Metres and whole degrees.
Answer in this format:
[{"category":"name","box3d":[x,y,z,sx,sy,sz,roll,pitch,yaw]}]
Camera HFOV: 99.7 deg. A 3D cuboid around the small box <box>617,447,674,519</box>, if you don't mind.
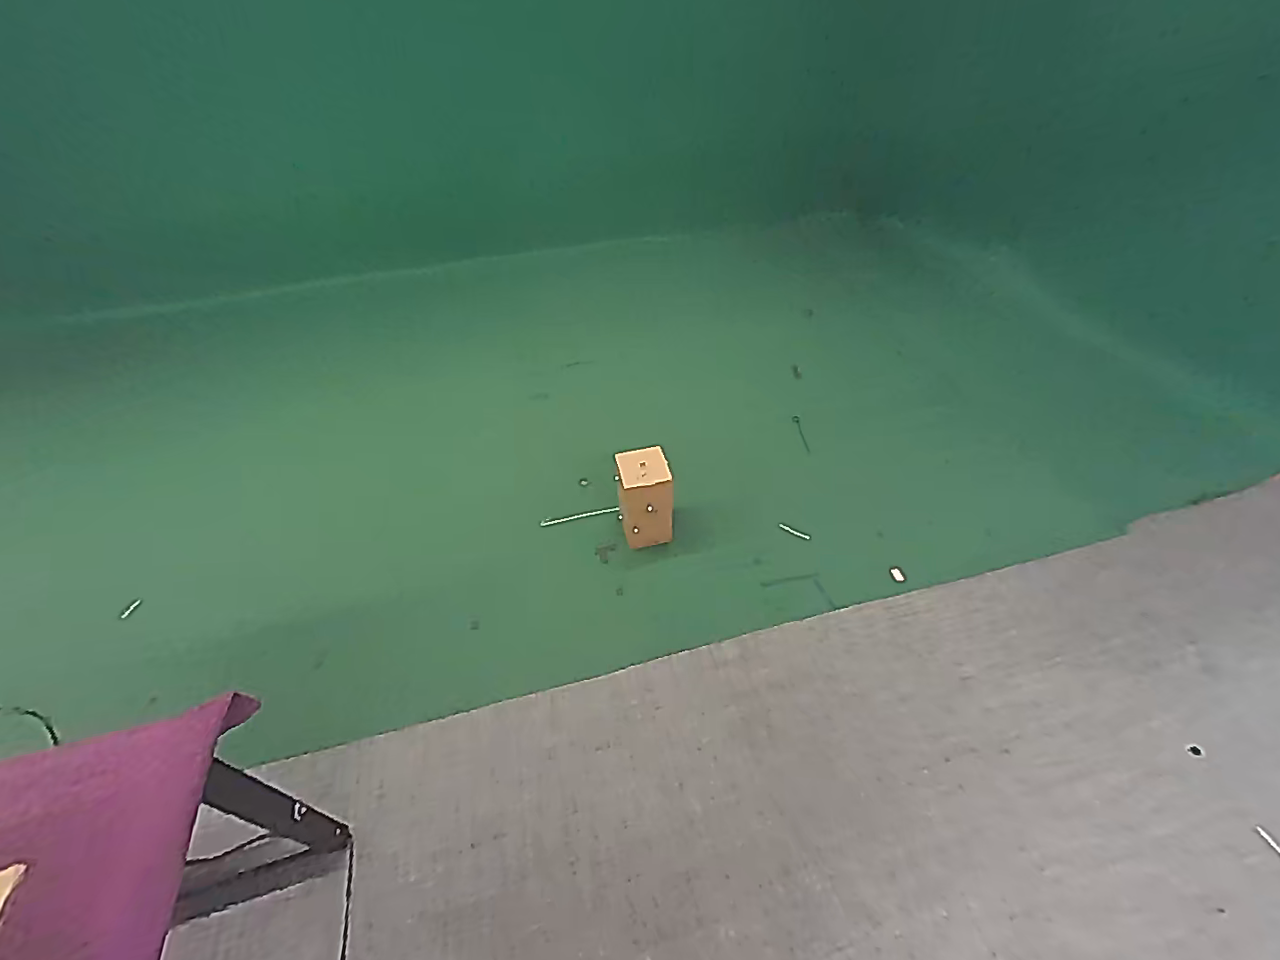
[{"category":"small box","box3d":[0.017,0.011,1.892,0.168,0.176,0.179,-11,47,-7]}]
